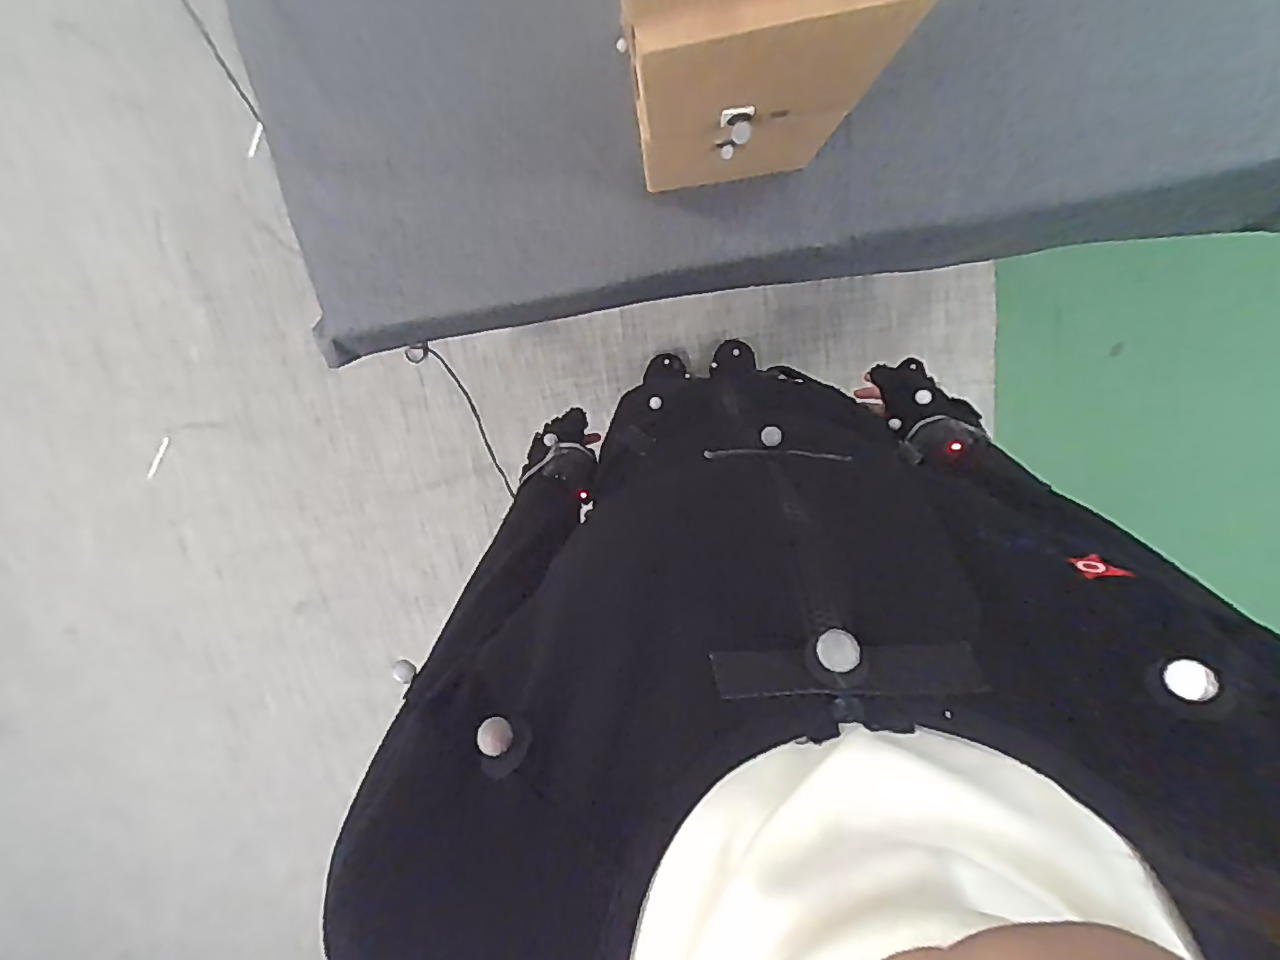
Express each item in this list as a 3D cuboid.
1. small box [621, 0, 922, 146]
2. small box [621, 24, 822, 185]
[{"bbox_3d":[0.066,-0.349,0.347,0.168,0.176,0.179,-7,106,7],"label":"small box"},{"bbox_3d":[0.076,-0.392,0.502,0.179,0.176,0.168,-6,105,4],"label":"small box"}]
